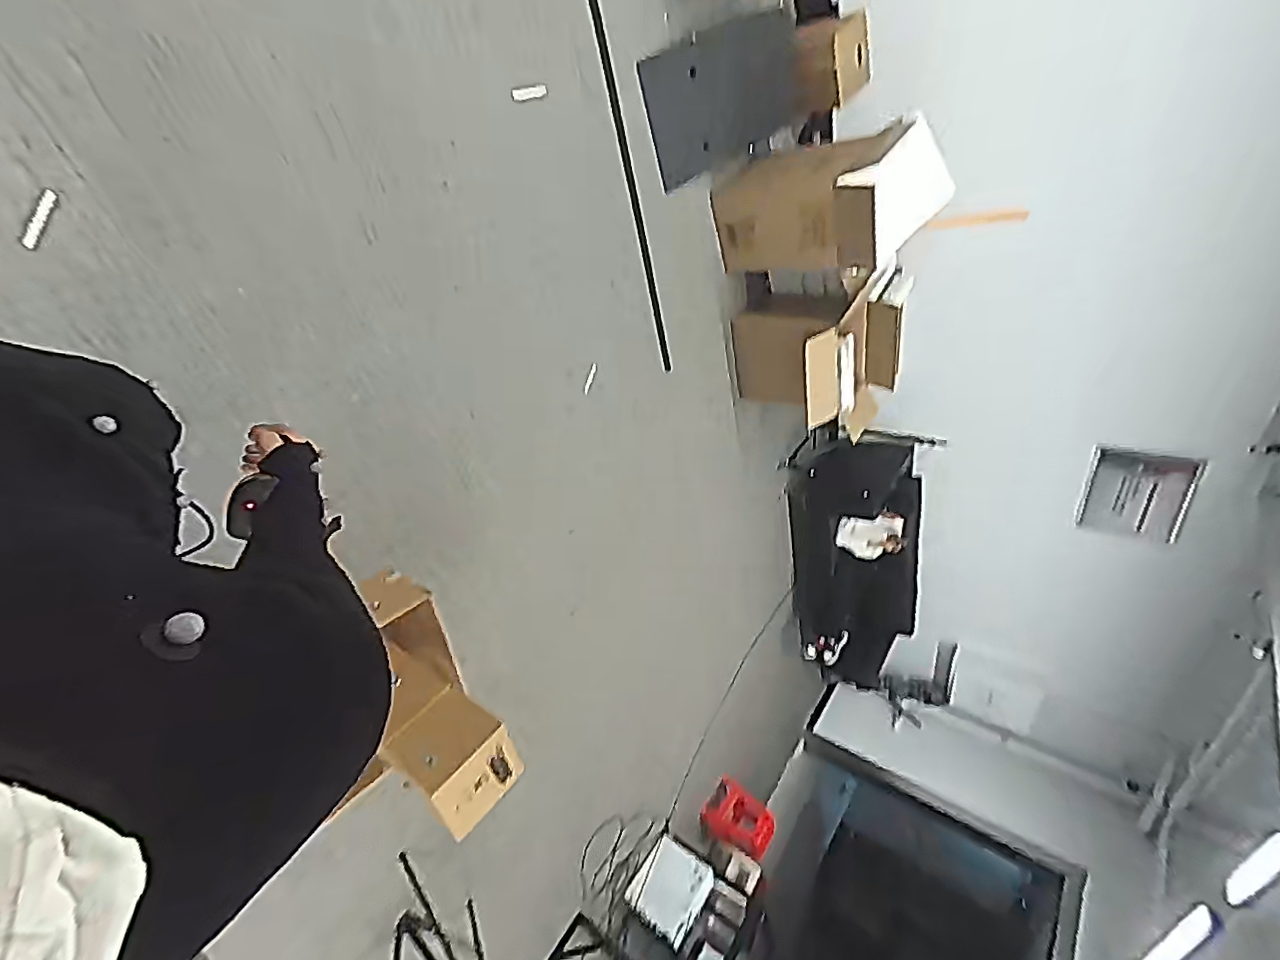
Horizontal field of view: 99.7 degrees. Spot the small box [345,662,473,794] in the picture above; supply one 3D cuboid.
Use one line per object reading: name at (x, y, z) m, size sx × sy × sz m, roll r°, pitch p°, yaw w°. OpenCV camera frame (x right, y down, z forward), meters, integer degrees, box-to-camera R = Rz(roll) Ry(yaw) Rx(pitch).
small box at (-0.508, 0.538, 1.195) m, size 0.168 × 0.176 × 0.179 m, roll -40°, pitch 132°, yaw -38°
